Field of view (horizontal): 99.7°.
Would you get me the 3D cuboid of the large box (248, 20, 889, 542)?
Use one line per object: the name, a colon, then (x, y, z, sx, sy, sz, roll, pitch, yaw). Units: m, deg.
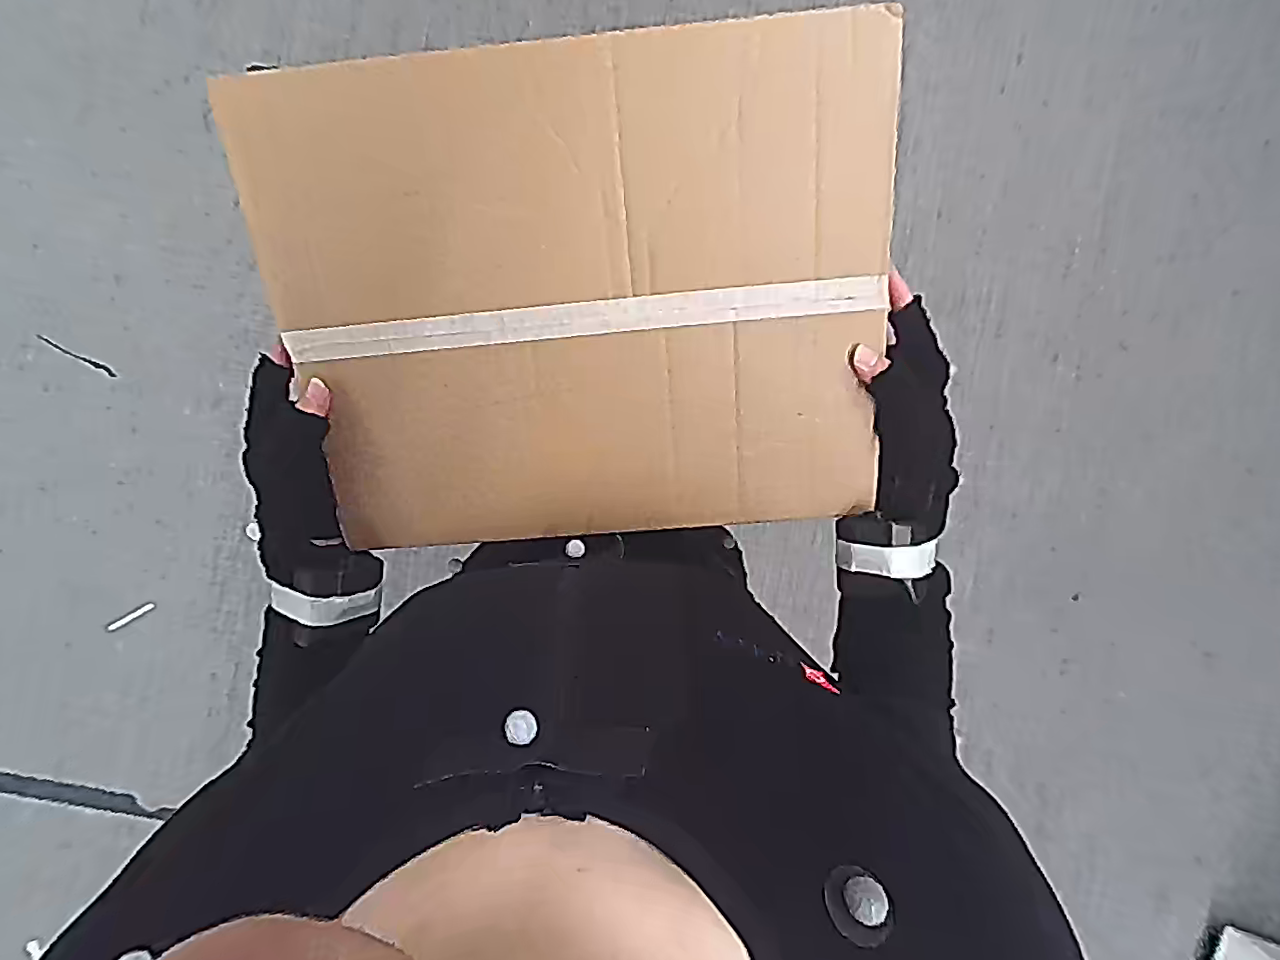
large box: (-0.036, -0.159, 0.516, 0.408, 0.320, 0.320, -4, 110, 2)
